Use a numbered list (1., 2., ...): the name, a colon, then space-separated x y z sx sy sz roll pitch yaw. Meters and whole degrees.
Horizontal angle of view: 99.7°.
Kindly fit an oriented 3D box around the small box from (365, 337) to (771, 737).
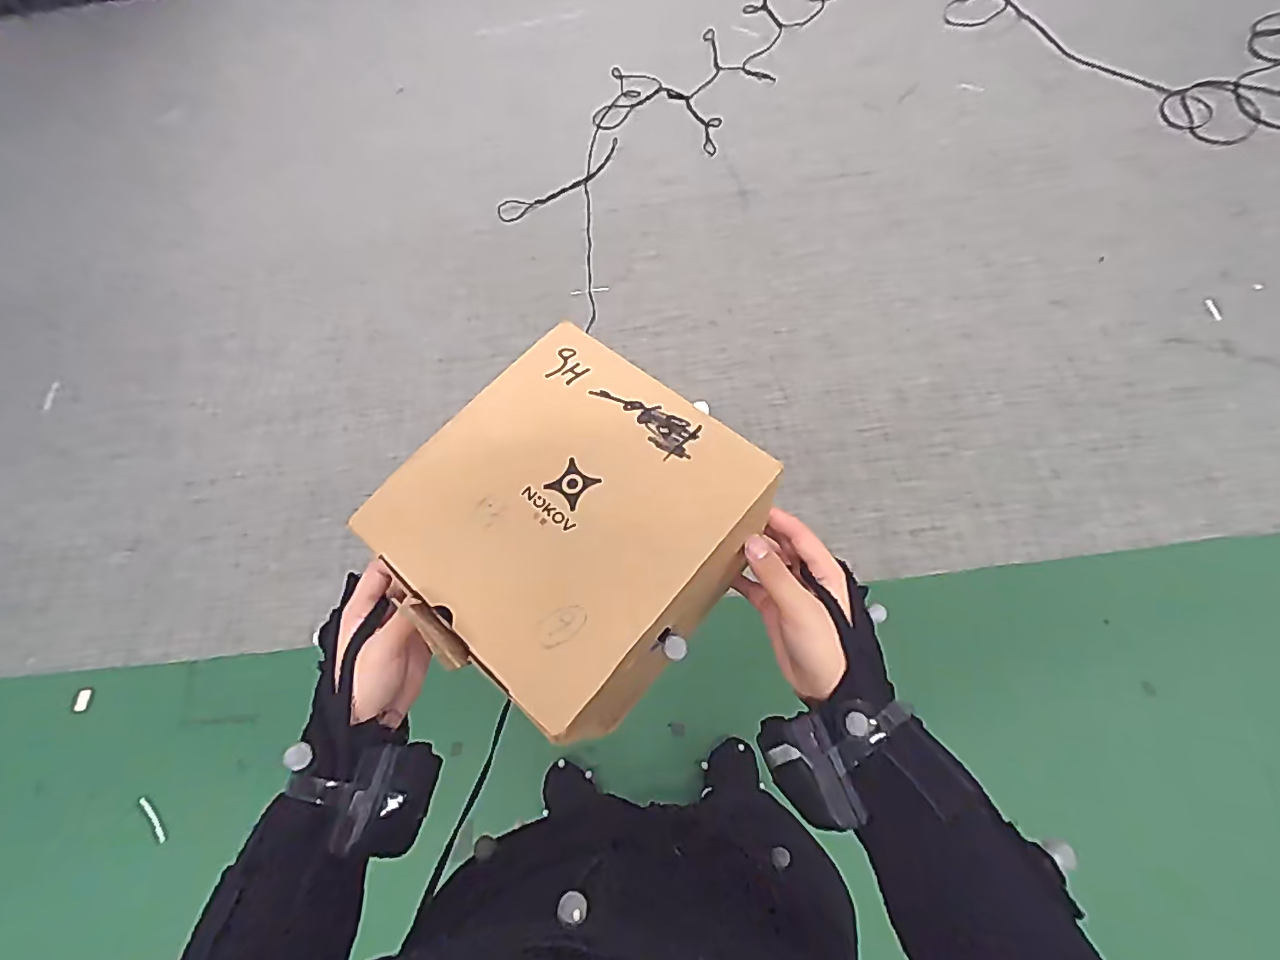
1. small box: -0.033 0.047 0.371 0.168 0.176 0.179 37 75 20
